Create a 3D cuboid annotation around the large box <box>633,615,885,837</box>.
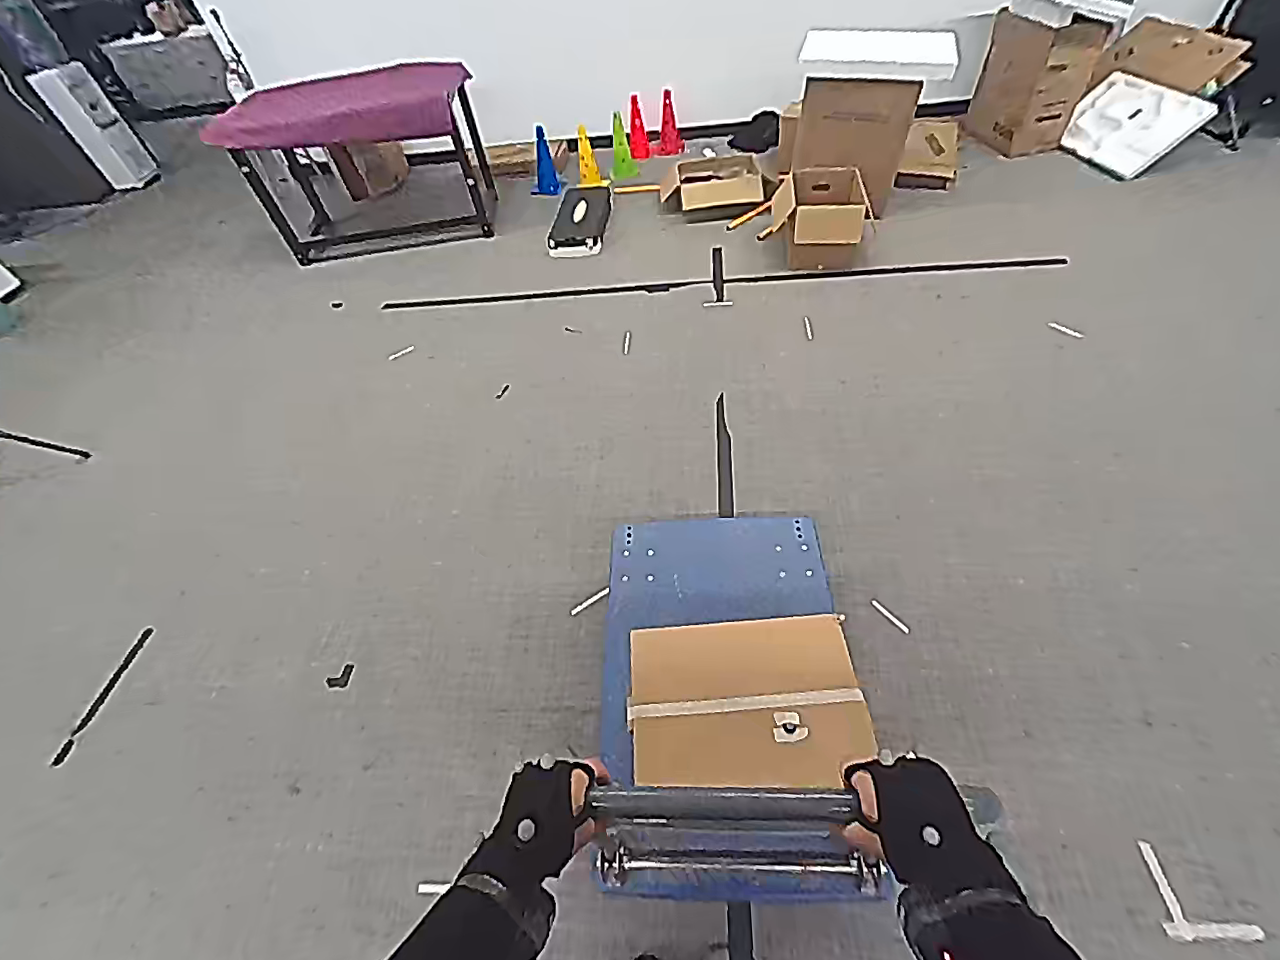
[{"bbox_3d":[0.205,0.498,1.082,0.408,0.320,0.320,-6,50,3],"label":"large box"}]
